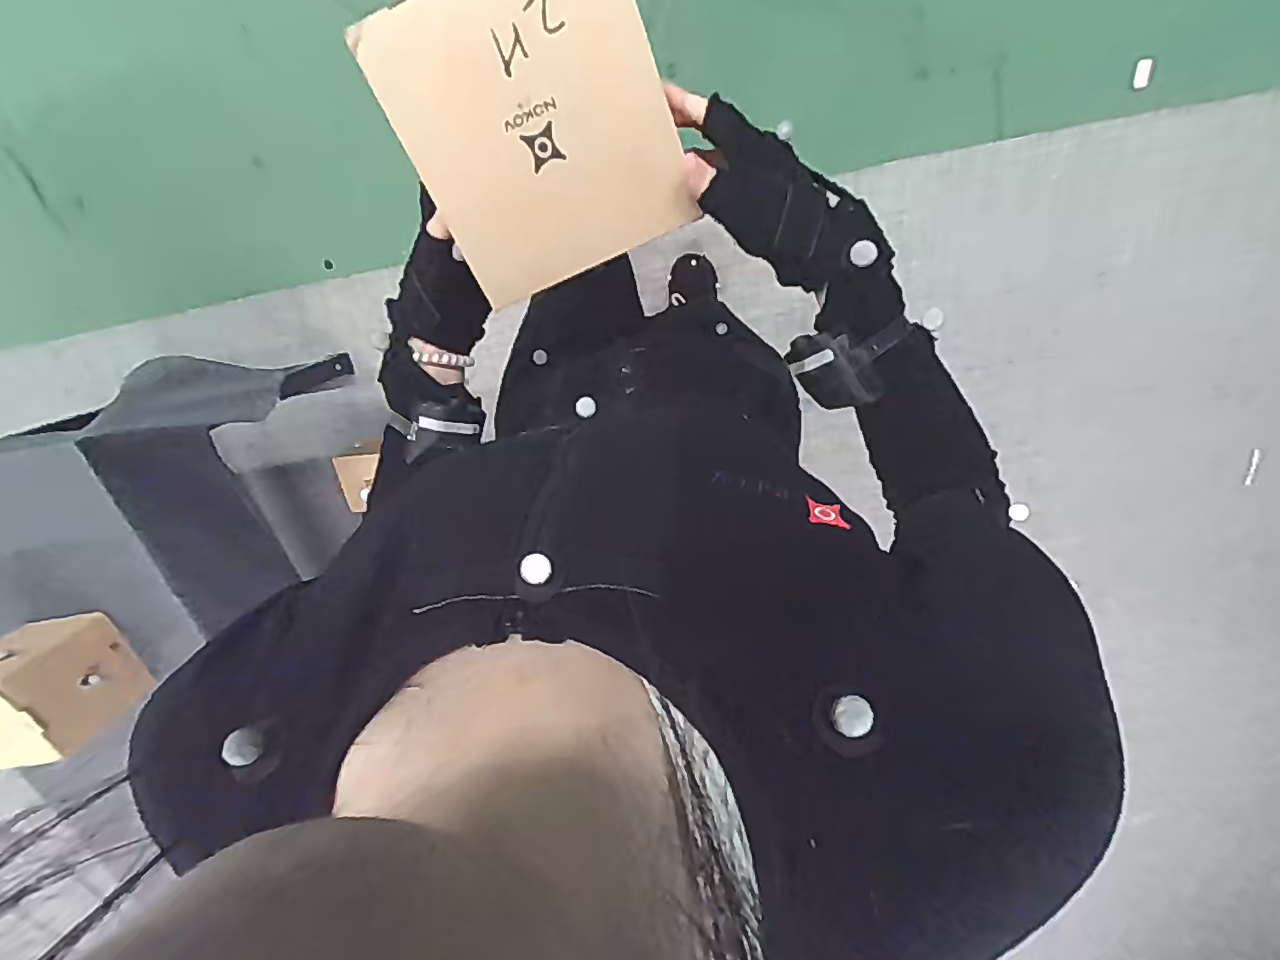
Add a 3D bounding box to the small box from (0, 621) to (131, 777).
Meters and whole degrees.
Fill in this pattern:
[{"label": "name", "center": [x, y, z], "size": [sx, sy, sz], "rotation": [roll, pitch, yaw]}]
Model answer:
[{"label": "small box", "center": [-0.988, 0.348, 0.871], "size": [0.179, 0.176, 0.168], "rotation": [-11, 113, 7]}]
